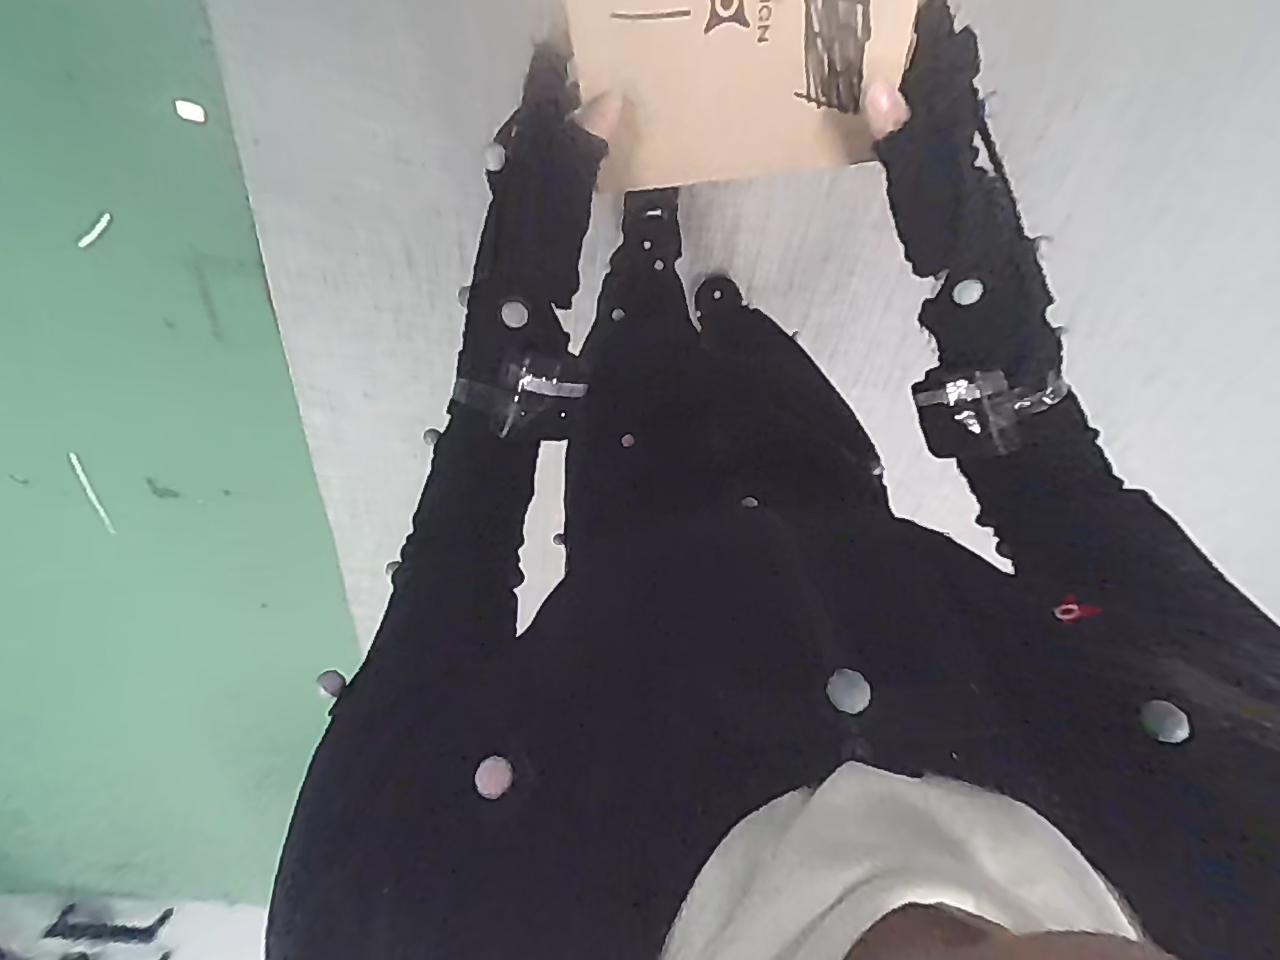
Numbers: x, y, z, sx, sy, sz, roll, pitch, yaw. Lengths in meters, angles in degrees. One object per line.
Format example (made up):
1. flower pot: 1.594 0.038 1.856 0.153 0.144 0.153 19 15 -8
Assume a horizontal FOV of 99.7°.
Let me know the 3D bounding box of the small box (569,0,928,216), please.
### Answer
1. small box: 0.051 -0.290 0.315 0.179 0.176 0.168 -8 142 7
